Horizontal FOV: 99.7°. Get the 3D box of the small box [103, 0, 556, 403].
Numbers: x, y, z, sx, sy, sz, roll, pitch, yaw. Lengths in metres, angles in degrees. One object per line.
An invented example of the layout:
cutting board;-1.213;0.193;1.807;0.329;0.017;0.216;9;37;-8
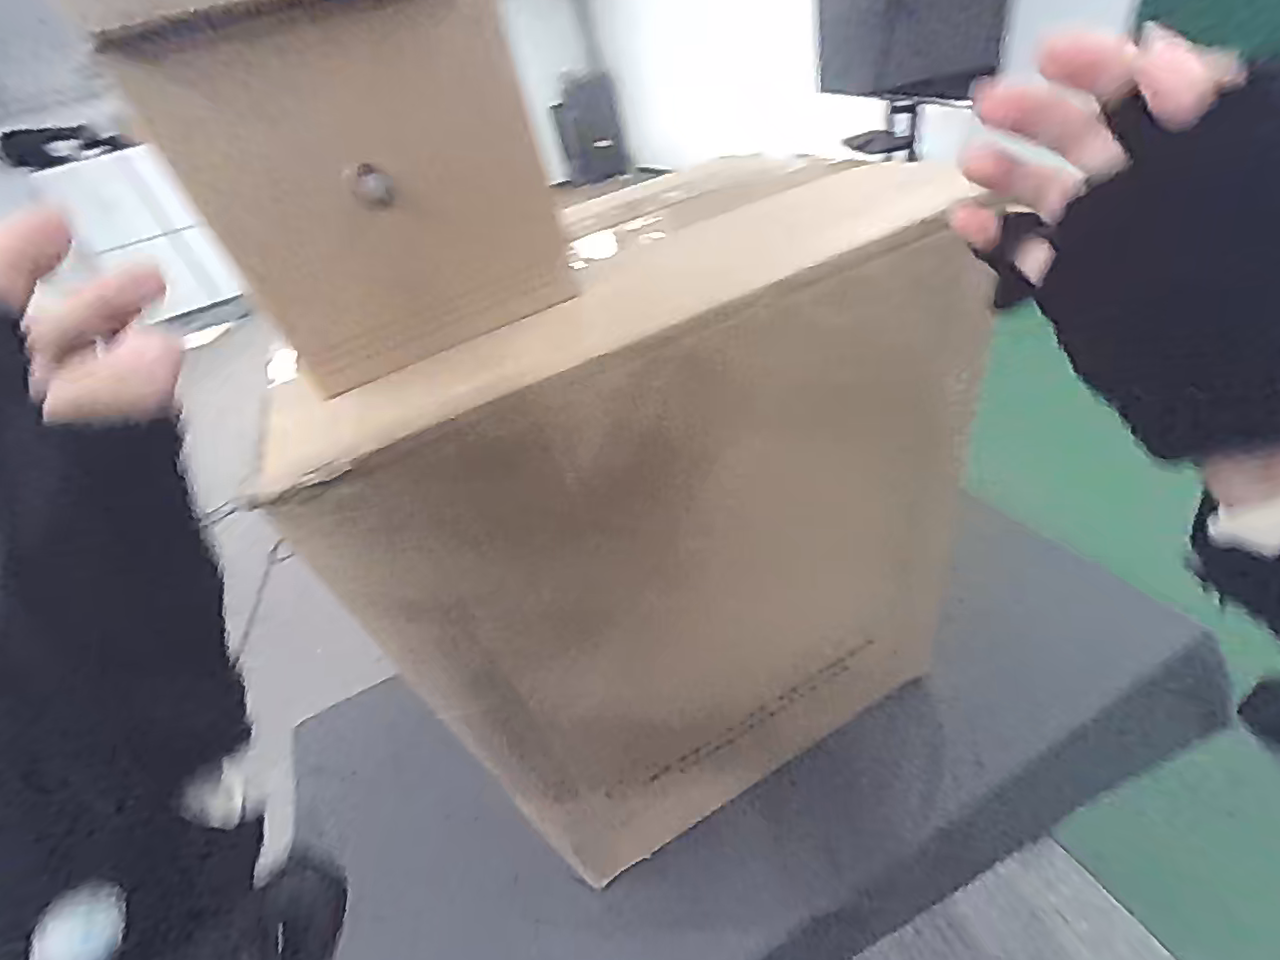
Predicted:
small box;-0.171;-0.180;0.355;0.179;0.176;0.168;-30;42;-14
